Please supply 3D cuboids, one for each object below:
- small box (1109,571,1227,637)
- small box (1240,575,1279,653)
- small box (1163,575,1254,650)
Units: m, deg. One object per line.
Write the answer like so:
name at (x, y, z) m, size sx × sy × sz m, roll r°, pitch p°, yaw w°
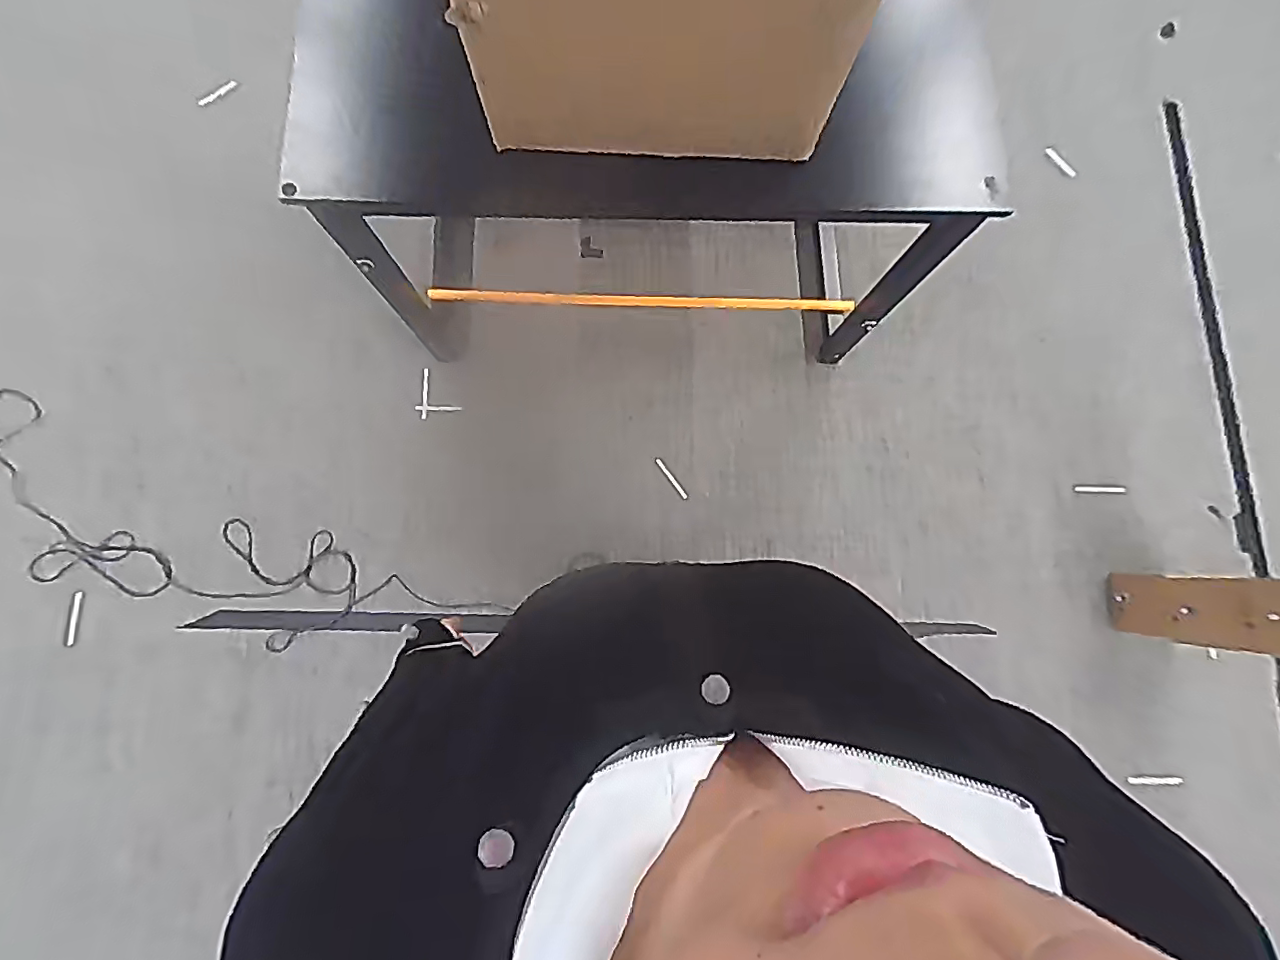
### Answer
small box at (1.437, 0.333, 1.468) m, size 0.179 × 0.176 × 0.168 m, roll 0°, pitch 80°, yaw -1°
small box at (1.438, 0.287, 1.142) m, size 0.179 × 0.176 × 0.168 m, roll 1°, pitch 80°, yaw -1°
small box at (1.434, 0.314, 1.304) m, size 0.179 × 0.176 × 0.168 m, roll 1°, pitch 80°, yaw -2°
